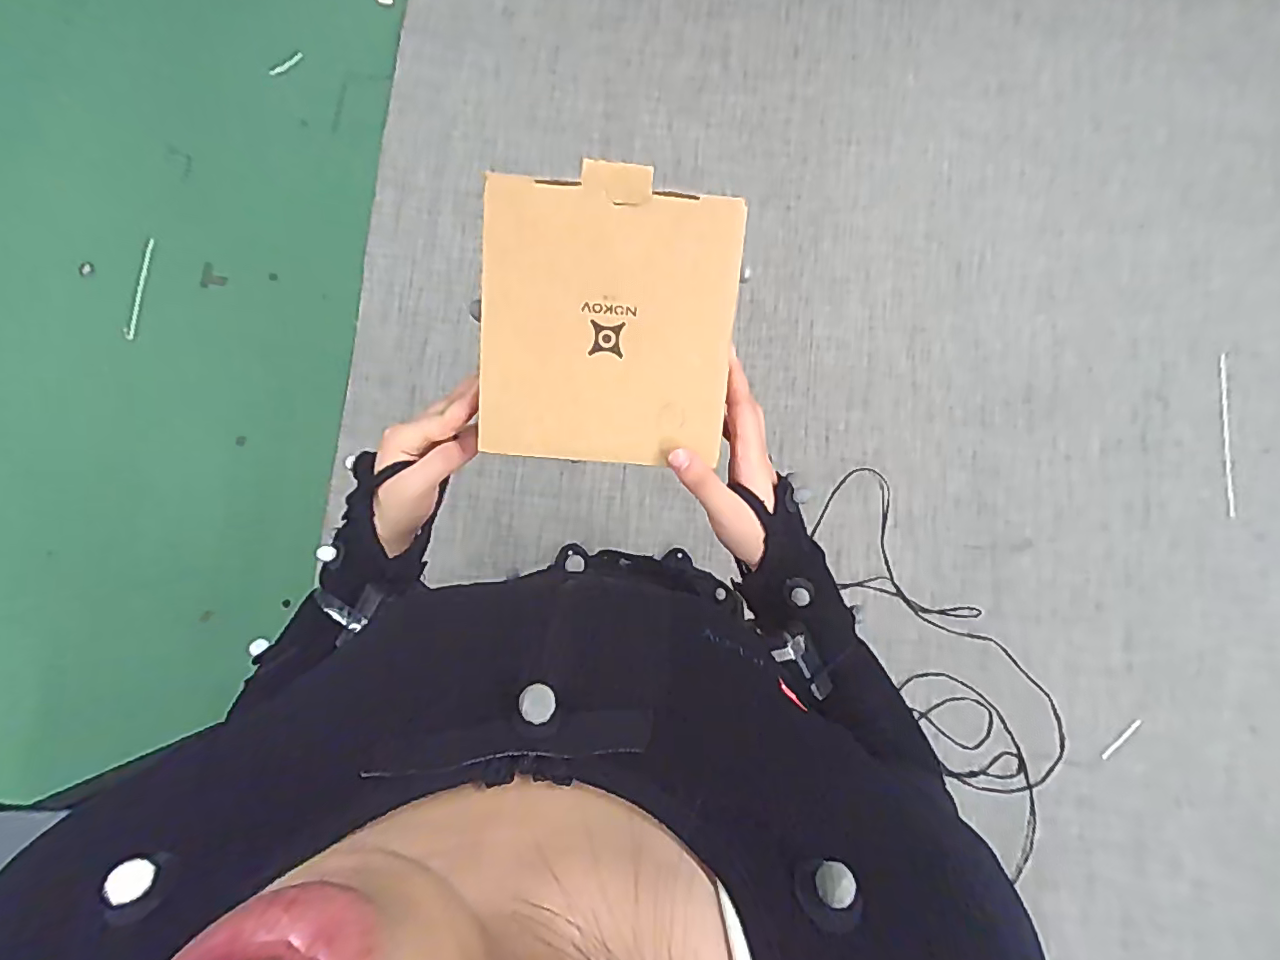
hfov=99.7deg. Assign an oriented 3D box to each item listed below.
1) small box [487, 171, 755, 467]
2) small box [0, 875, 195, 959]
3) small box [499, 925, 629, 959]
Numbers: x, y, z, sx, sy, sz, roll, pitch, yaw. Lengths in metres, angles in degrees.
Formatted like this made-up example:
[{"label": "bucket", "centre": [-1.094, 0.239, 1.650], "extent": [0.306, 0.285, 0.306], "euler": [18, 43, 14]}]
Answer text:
[{"label": "small box", "centre": [-0.017, -0.115, 0.430], "extent": [0.168, 0.176, 0.179], "euler": [4, 101, -3]}, {"label": "small box", "centre": [-0.680, 0.619, 0.629], "extent": [0.168, 0.176, 0.179], "euler": [25, 86, 3]}, {"label": "small box", "centre": [-0.101, 0.673, 0.625], "extent": [0.168, 0.176, 0.179], "euler": [5, 84, 1]}]
